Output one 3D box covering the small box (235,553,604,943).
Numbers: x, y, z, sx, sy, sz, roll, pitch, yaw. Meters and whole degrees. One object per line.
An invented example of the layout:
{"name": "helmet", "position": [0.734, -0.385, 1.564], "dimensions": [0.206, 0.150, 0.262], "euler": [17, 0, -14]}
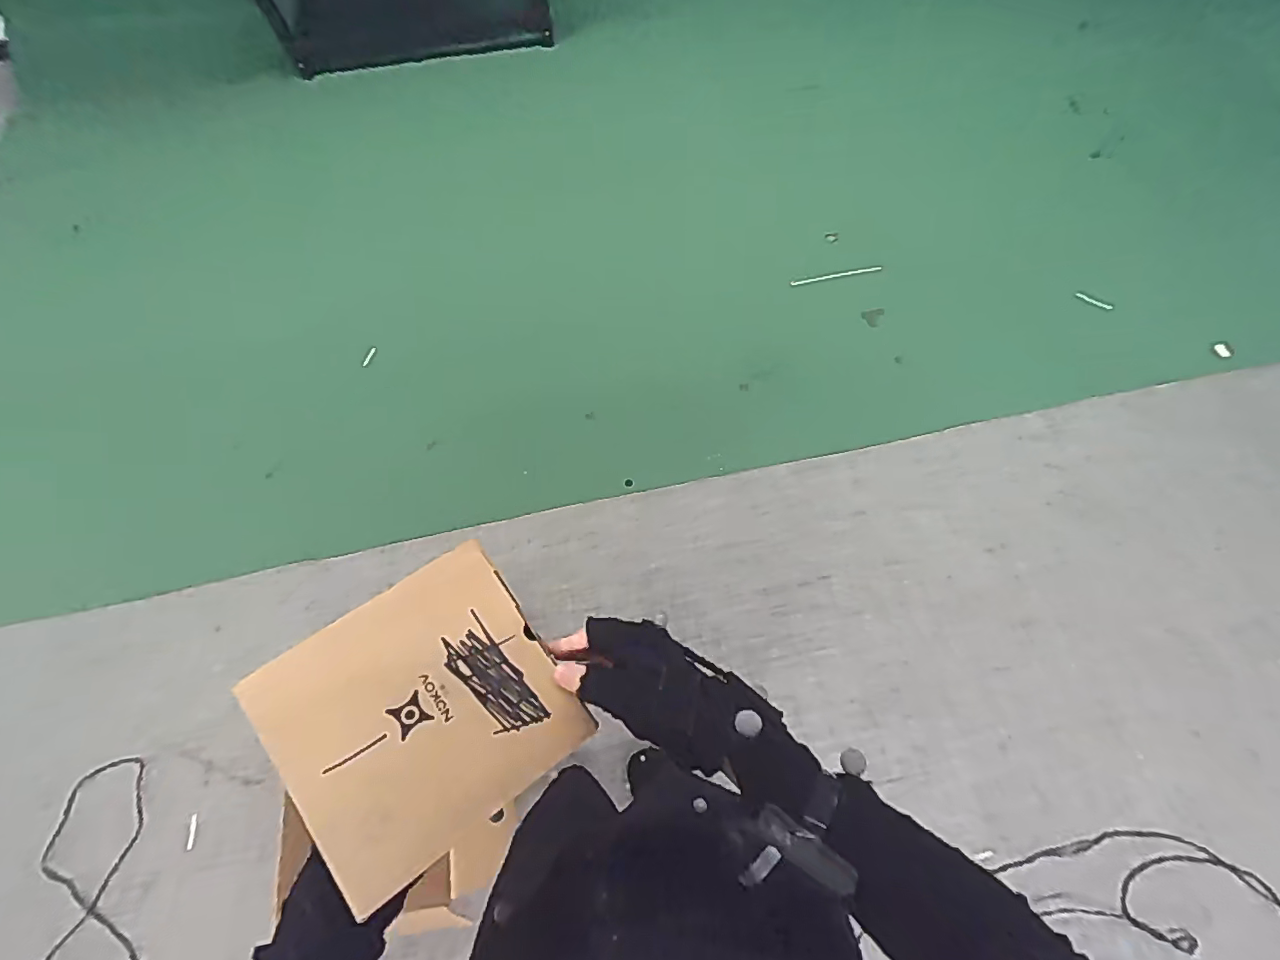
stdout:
{"name": "small box", "position": [-0.151, 0.182, 0.422], "dimensions": [0.179, 0.176, 0.168], "euler": [-32, 79, -18]}
